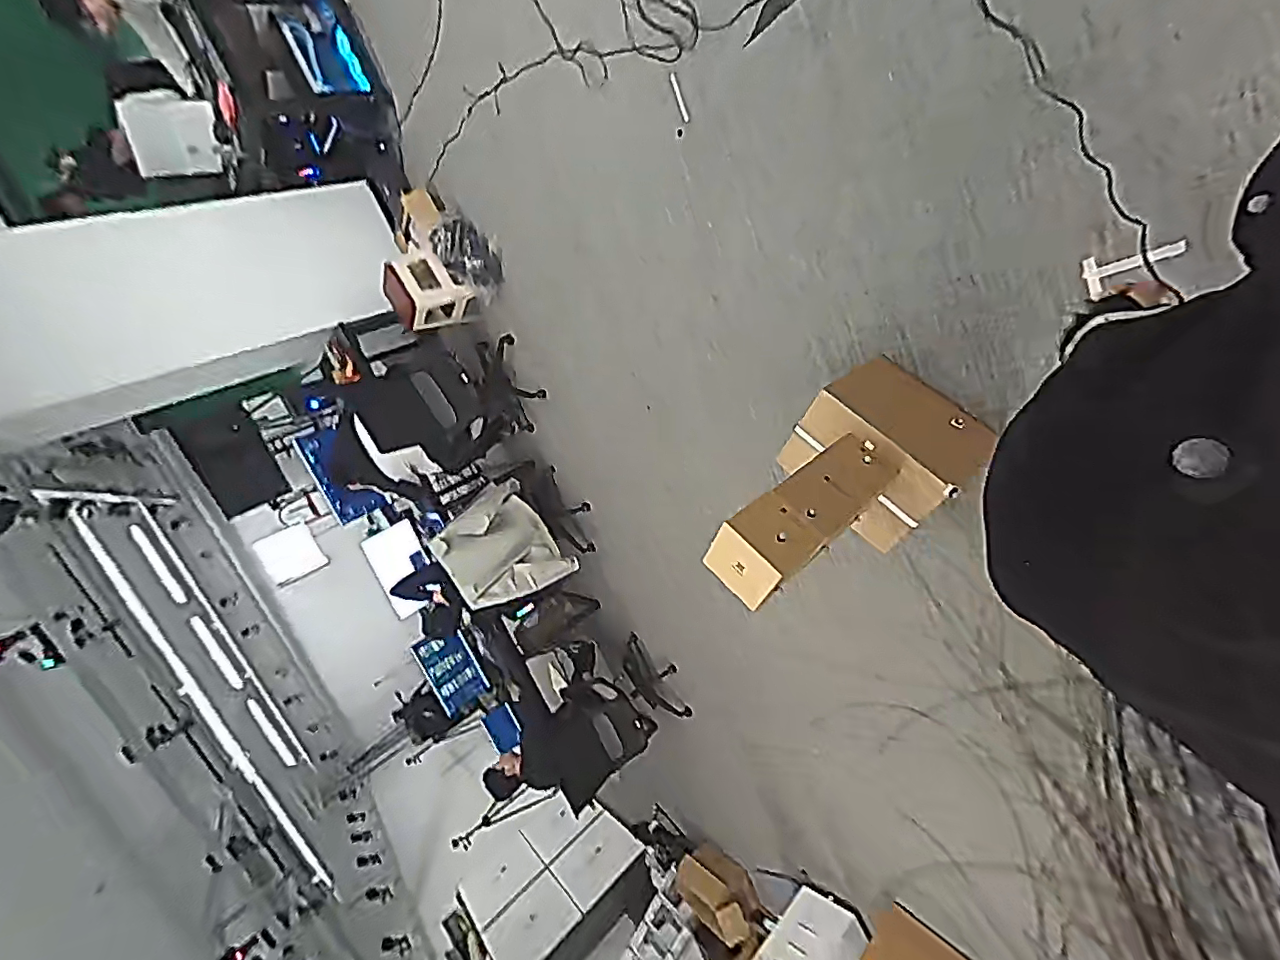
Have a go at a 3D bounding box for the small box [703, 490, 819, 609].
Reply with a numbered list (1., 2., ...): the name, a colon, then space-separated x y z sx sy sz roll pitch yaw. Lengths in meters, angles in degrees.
1. small box: 0.277 0.152 1.228 0.168 0.176 0.179 45 146 22

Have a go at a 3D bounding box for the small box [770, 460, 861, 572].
1. small box: 0.399 0.085 1.313 0.168 0.176 0.179 45 147 22

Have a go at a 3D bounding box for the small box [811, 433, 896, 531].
1. small box: 0.520 0.012 1.396 0.168 0.176 0.179 45 145 22
